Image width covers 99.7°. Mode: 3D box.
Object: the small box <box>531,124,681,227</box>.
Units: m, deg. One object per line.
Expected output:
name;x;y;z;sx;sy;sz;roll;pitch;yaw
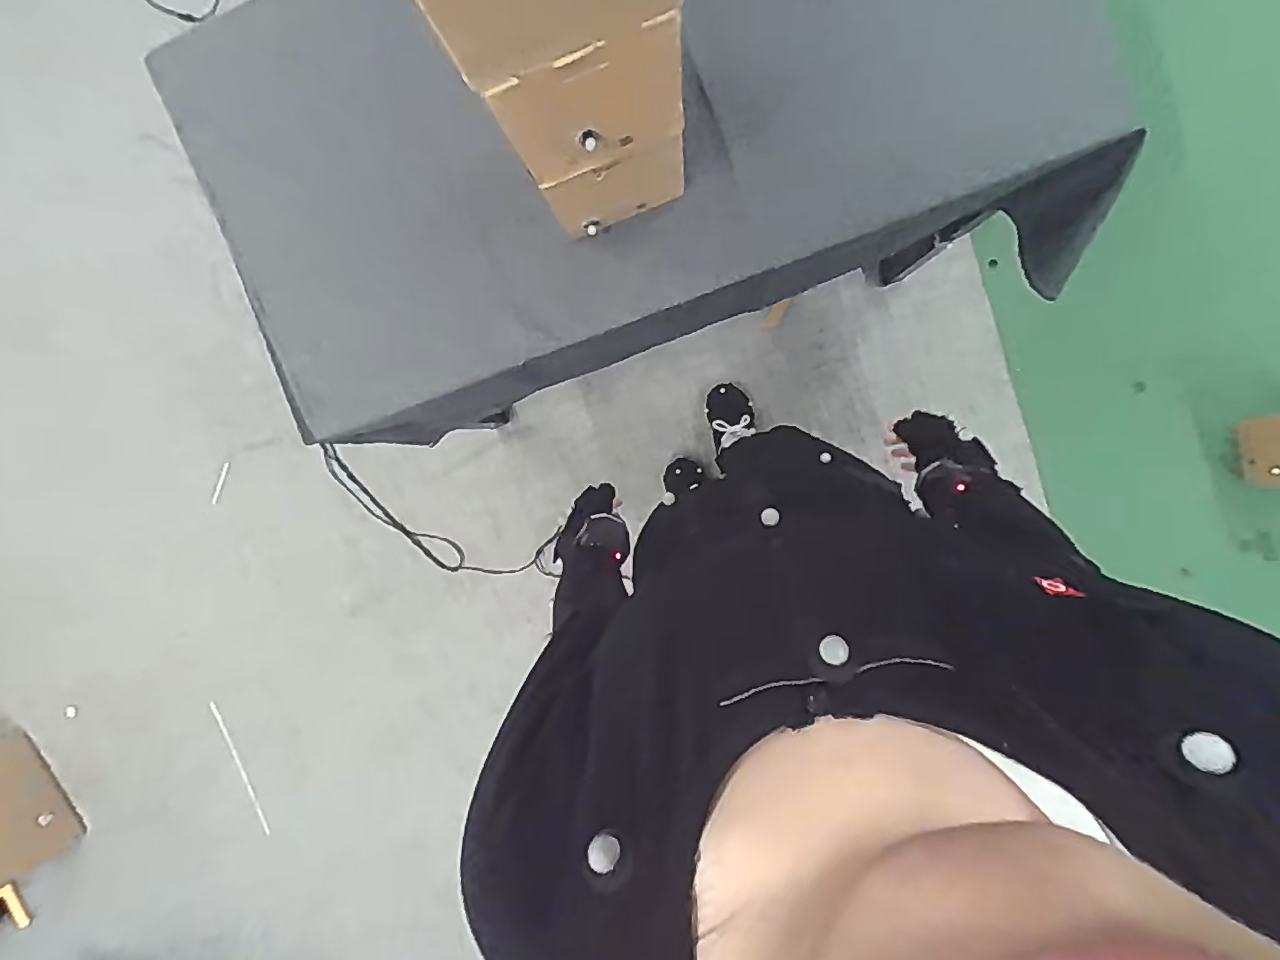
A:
small box;-0.053;-0.436;0.659;0.168;0.176;0.179;-19;92;7

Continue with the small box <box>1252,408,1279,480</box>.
small box;1.588;-0.091;1.251;0.179;0.176;0.168;-14;94;7

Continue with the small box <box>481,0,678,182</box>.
small box;-0.068;-0.421;0.499;0.168;0.176;0.179;-19;93;7

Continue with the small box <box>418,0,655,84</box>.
small box;-0.082;-0.403;0.336;0.179;0.176;0.168;-18;93;7
